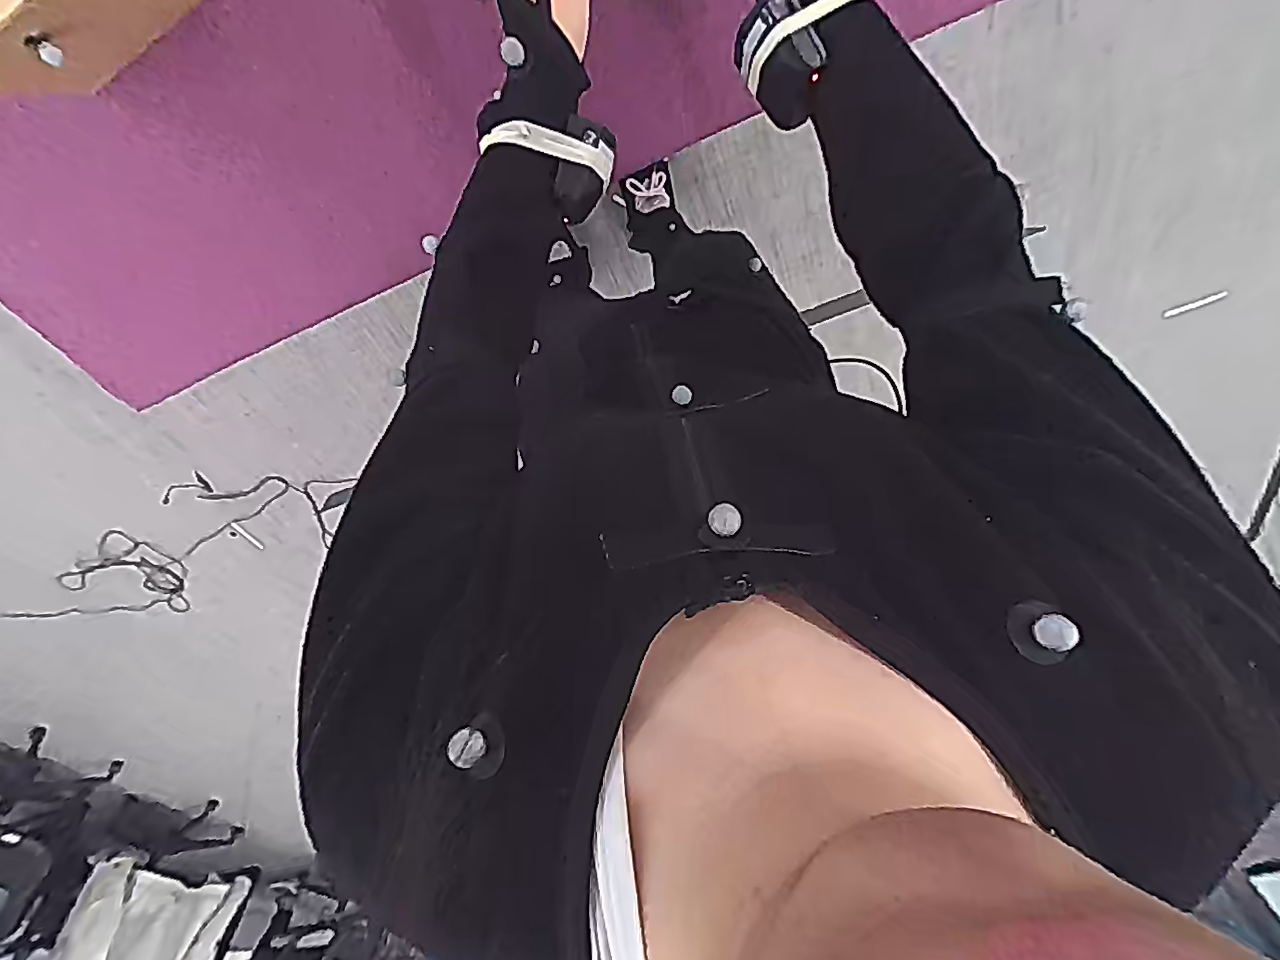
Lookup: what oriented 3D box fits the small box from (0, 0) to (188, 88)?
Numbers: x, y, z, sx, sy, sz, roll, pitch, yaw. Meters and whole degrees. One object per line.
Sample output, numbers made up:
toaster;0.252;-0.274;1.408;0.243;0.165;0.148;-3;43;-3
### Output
small box;-0.467;-0.409;0.376;0.179;0.176;0.168;-23;127;14
